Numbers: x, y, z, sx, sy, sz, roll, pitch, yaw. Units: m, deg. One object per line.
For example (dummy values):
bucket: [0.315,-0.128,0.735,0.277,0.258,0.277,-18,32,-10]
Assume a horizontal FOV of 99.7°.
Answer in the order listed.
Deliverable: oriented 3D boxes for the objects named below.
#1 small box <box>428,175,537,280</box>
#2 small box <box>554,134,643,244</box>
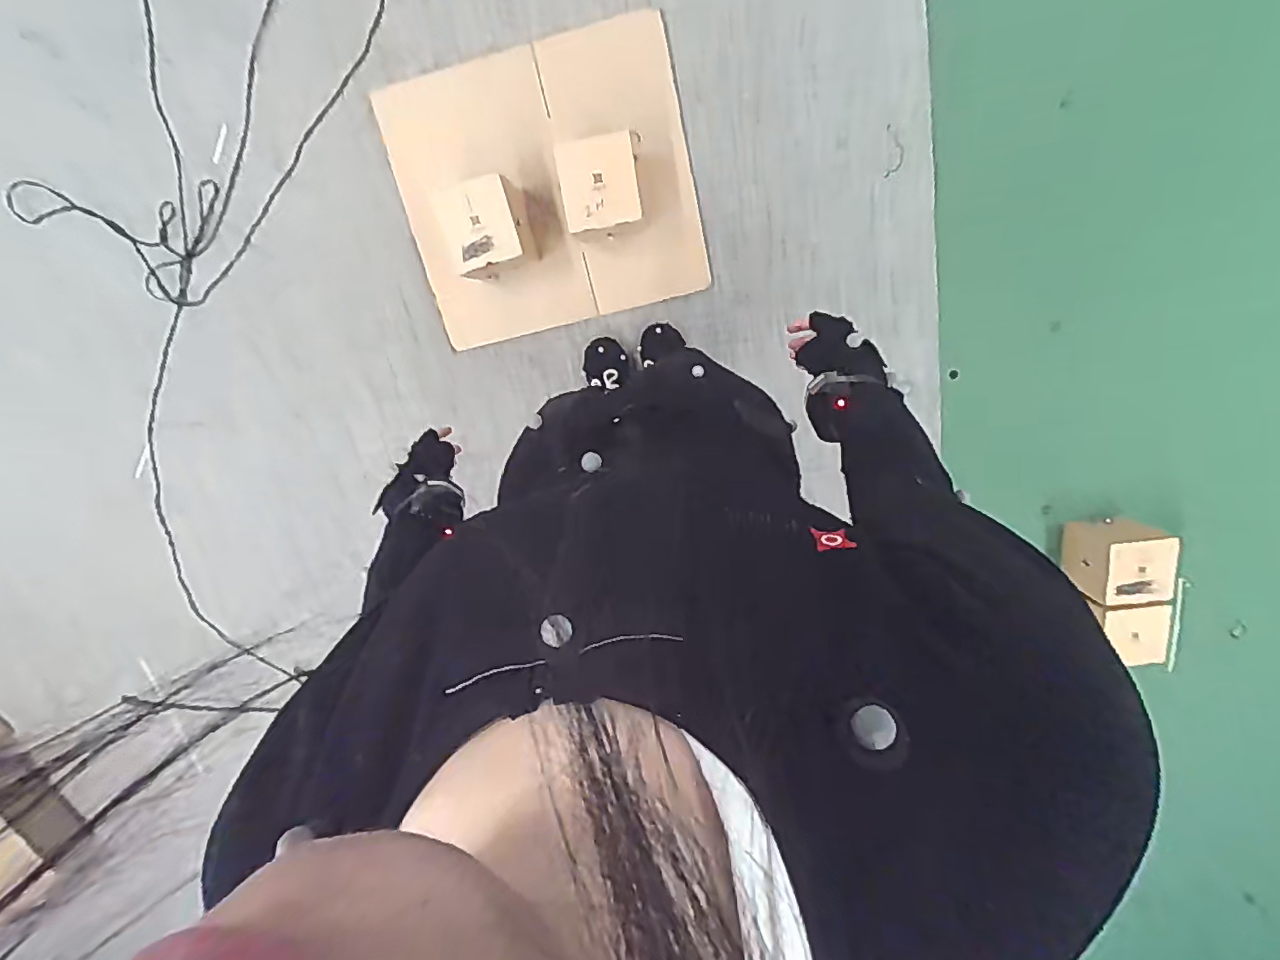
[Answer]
small box: [-0.354,-0.574,1.256,0.168,0.176,0.179,-14,105,7]
small box: [-0.086,-0.650,1.226,0.168,0.176,0.179,-8,107,6]
